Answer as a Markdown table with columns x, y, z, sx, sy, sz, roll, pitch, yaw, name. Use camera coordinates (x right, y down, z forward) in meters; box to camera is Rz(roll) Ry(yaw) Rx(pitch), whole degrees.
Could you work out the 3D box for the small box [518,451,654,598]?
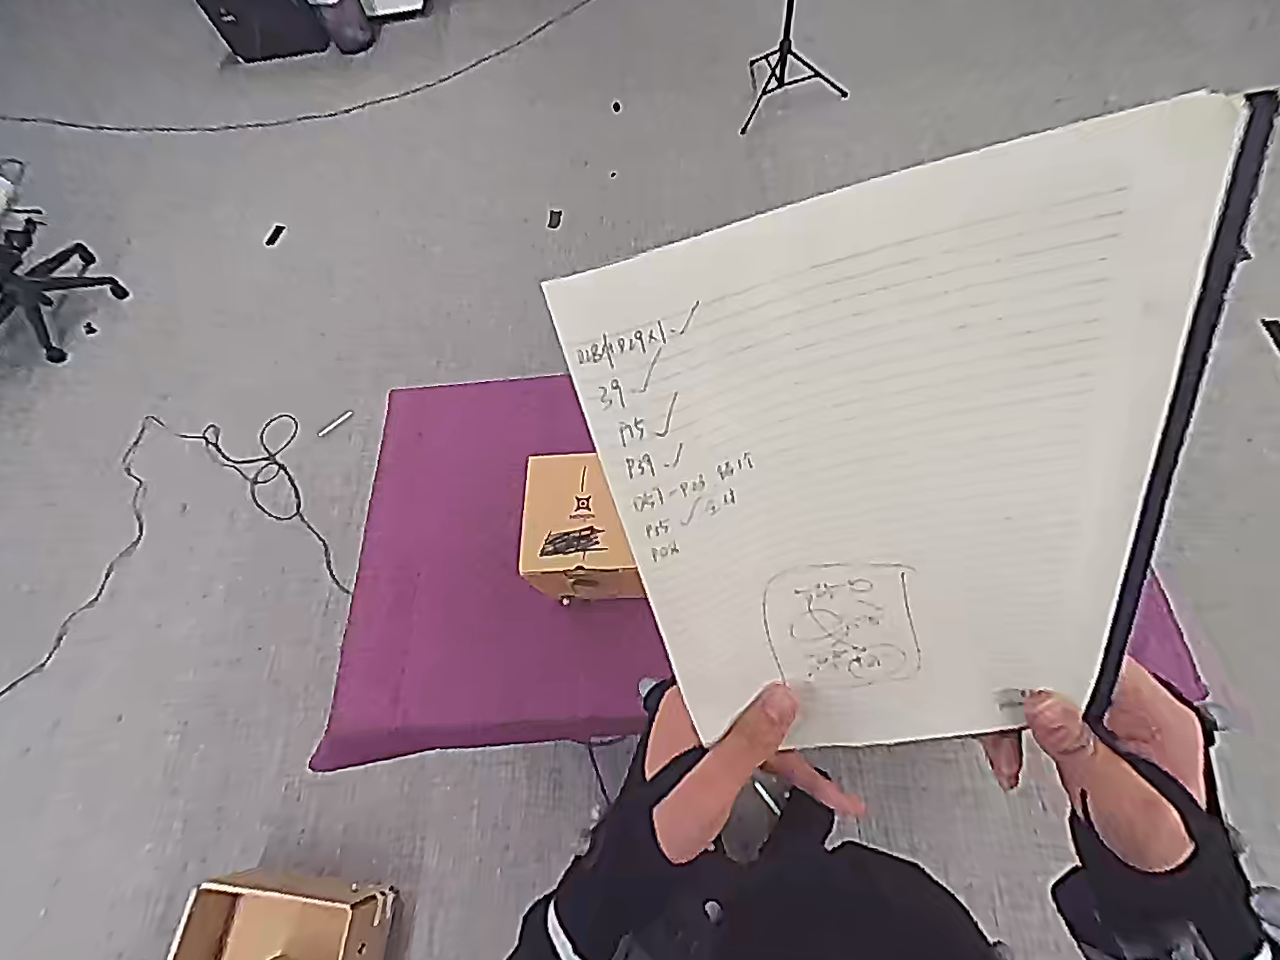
| x | y | z | sx | sy | sz | roll | pitch | yaw | name |
| --- | --- | --- | --- | --- | --- | --- | --- | --- | --- |
| -0.069 | 0.075 | 0.800 | 0.168 | 0.176 | 0.179 | -3 | 65 | 6 | small box |
